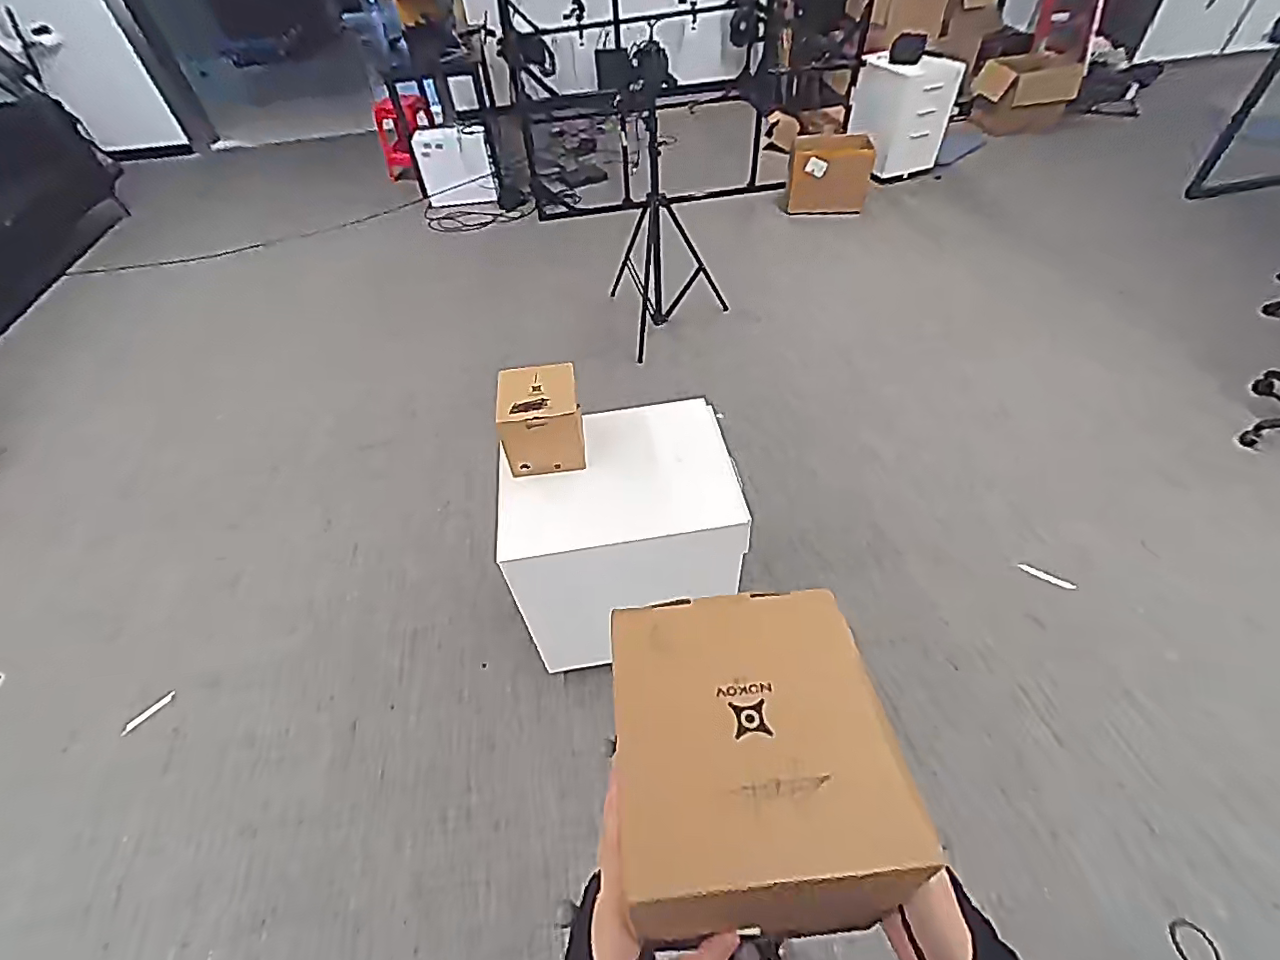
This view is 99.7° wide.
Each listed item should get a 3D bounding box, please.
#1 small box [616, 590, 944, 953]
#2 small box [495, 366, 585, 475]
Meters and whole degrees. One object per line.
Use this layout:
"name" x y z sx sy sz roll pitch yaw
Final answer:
"small box" 0.071 0.204 0.387 0.168 0.176 0.179 -5 42 -2
"small box" -0.215 -0.125 1.198 0.168 0.176 0.179 -7 48 -3
